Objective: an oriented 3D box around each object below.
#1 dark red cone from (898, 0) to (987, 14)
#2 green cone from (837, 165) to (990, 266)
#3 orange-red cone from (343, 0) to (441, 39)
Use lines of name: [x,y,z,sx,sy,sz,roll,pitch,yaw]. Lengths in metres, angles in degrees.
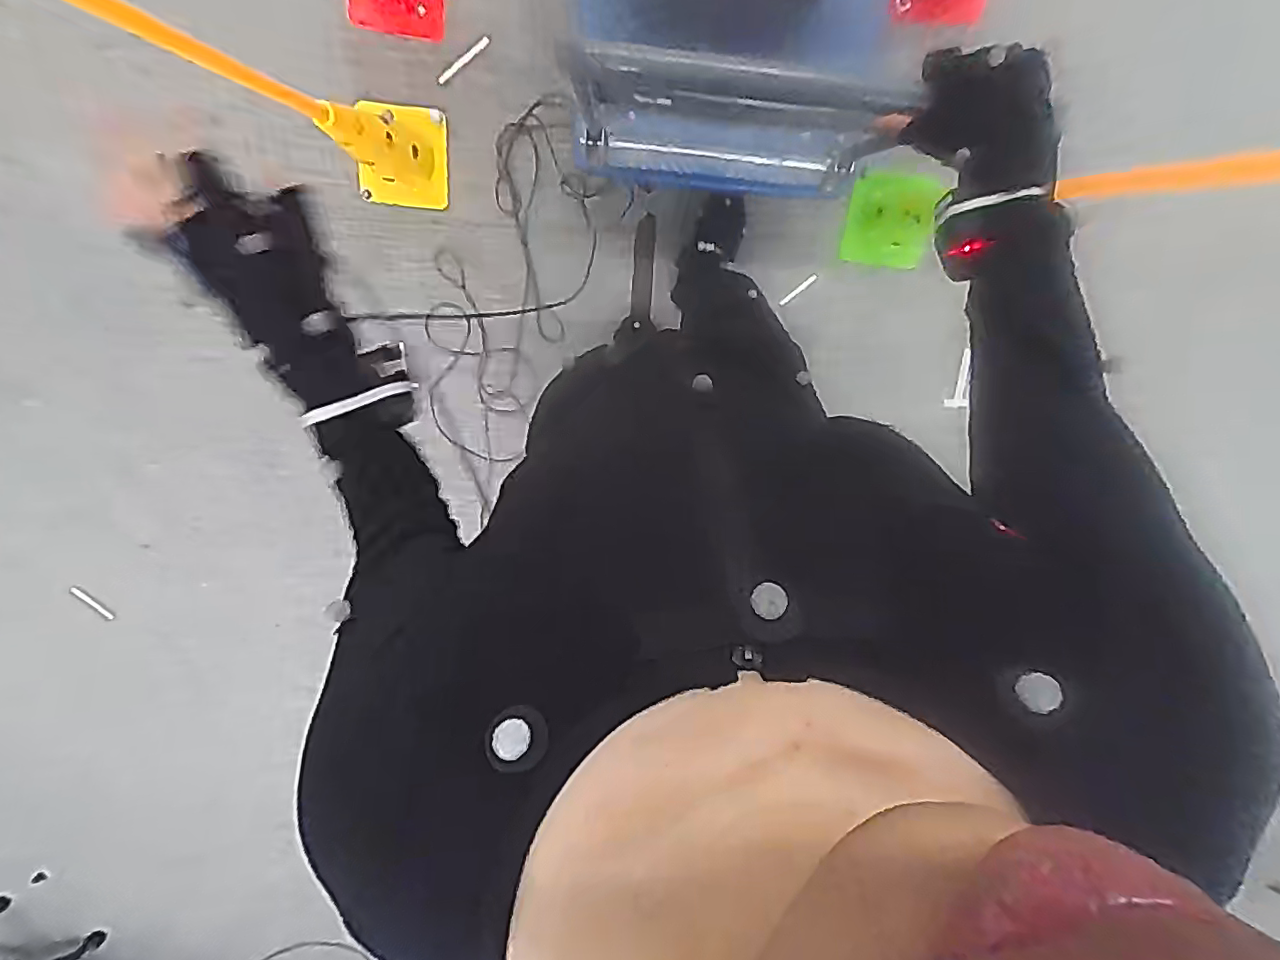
dark red cone: [0.635,-1.010,0.938,0.201,0.394,0.202,2,111,-4]
green cone: [0.589,-0.564,1.125,0.202,0.368,0.200,5,110,-5]
orange-red cone: [-0.499,-0.981,0.946,0.198,0.360,0.199,9,109,-6]
